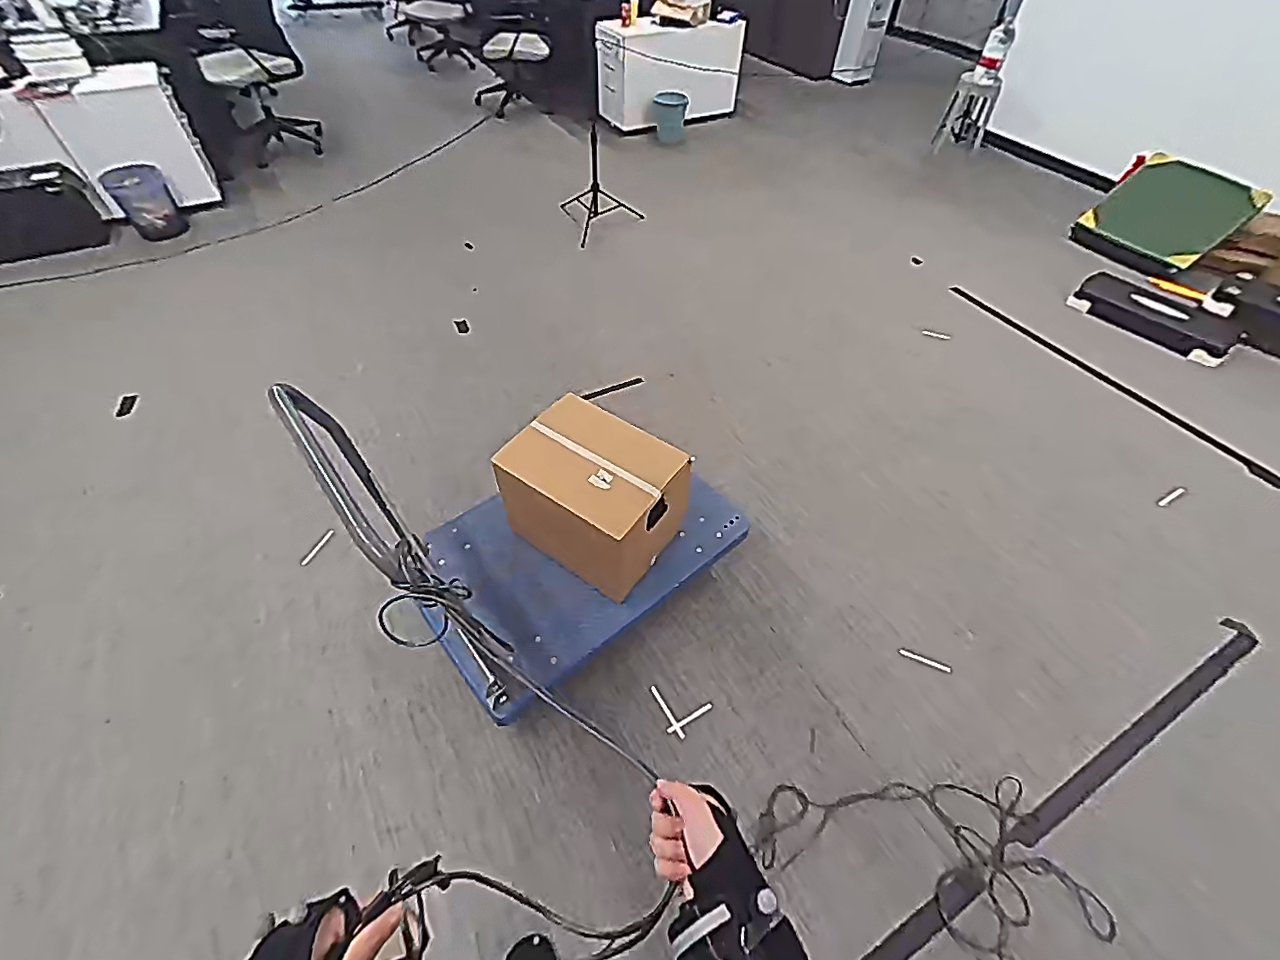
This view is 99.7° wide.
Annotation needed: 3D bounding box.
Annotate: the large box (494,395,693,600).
[{"bbox_3d":[-0.121,0.044,1.452,0.408,0.320,0.320,30,57,19],"label":"large box"}]
